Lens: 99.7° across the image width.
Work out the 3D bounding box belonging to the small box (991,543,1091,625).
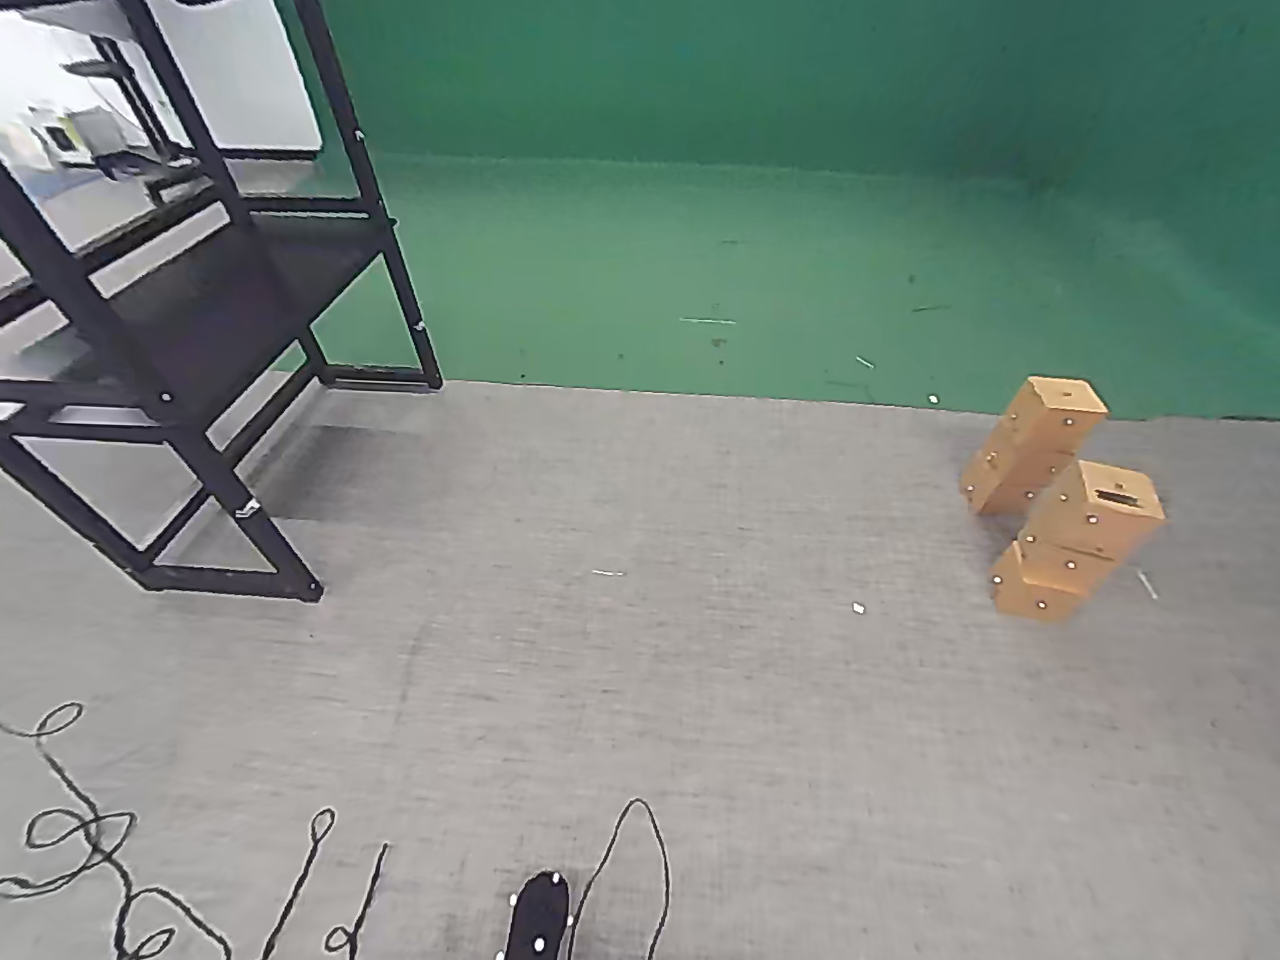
[{"bbox_3d":[1.219,0.322,1.660,0.179,0.176,0.168,11,46,11],"label":"small box"}]

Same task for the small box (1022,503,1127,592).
[{"bbox_3d":[1.234,0.197,1.555,0.179,0.176,0.168,14,47,14],"label":"small box"}]

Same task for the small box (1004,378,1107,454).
[{"bbox_3d":[1.309,-0.200,1.716,0.179,0.176,0.168,6,46,5],"label":"small box"}]

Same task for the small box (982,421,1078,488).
[{"bbox_3d":[1.312,-0.086,1.832,0.179,0.176,0.168,1,45,1],"label":"small box"}]

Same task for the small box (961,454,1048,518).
[{"bbox_3d":[1.307,0.023,1.952,0.179,0.176,0.168,1,45,1],"label":"small box"}]
